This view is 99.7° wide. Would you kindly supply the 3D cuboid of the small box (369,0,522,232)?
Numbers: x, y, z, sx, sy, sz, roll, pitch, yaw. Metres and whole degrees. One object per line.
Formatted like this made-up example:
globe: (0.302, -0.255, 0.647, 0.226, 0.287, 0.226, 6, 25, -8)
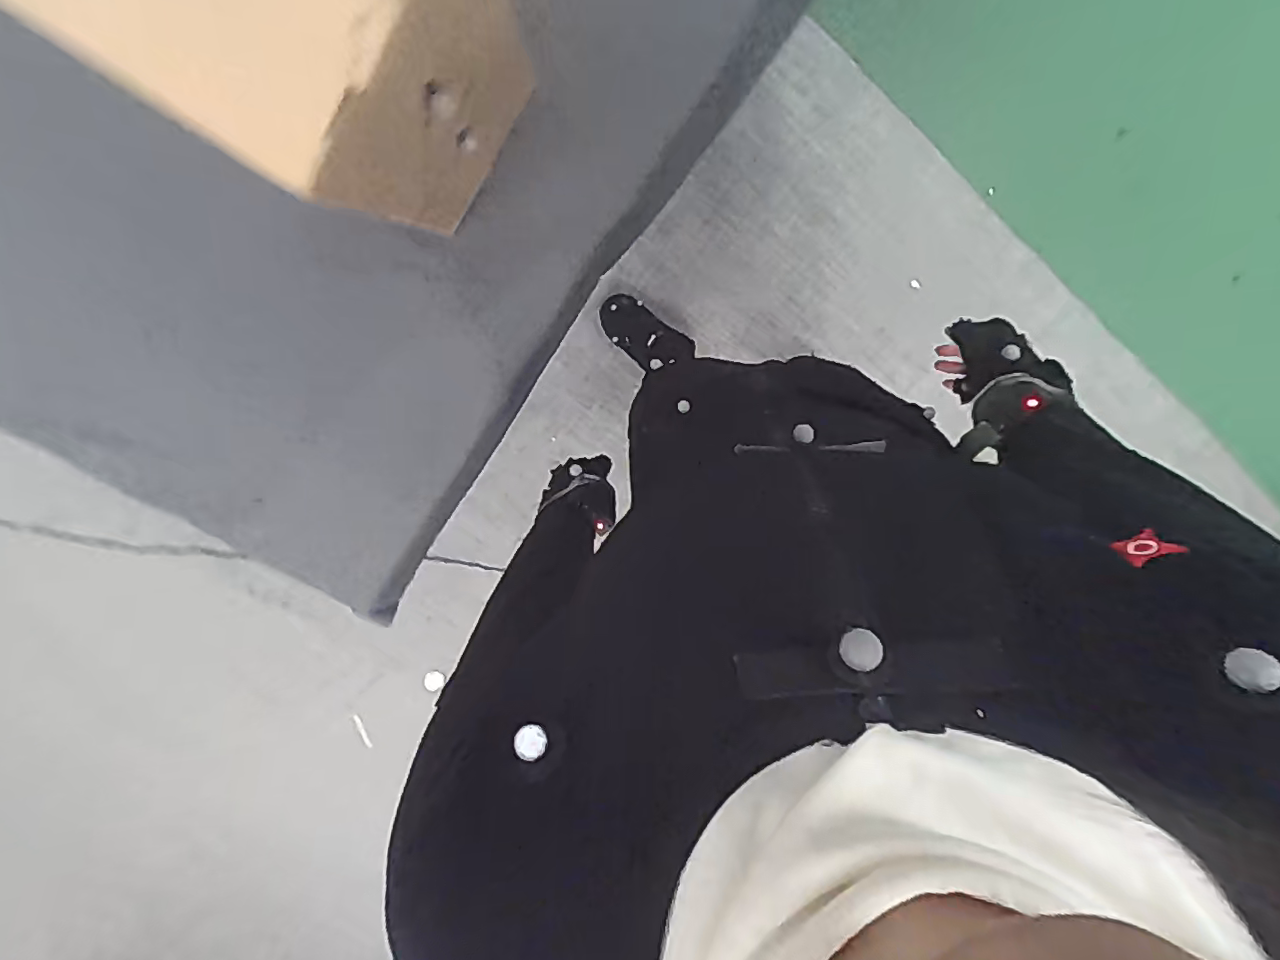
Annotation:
small box: (-0.217, -0.336, 0.458, 0.168, 0.176, 0.179, 32, 105, -15)
